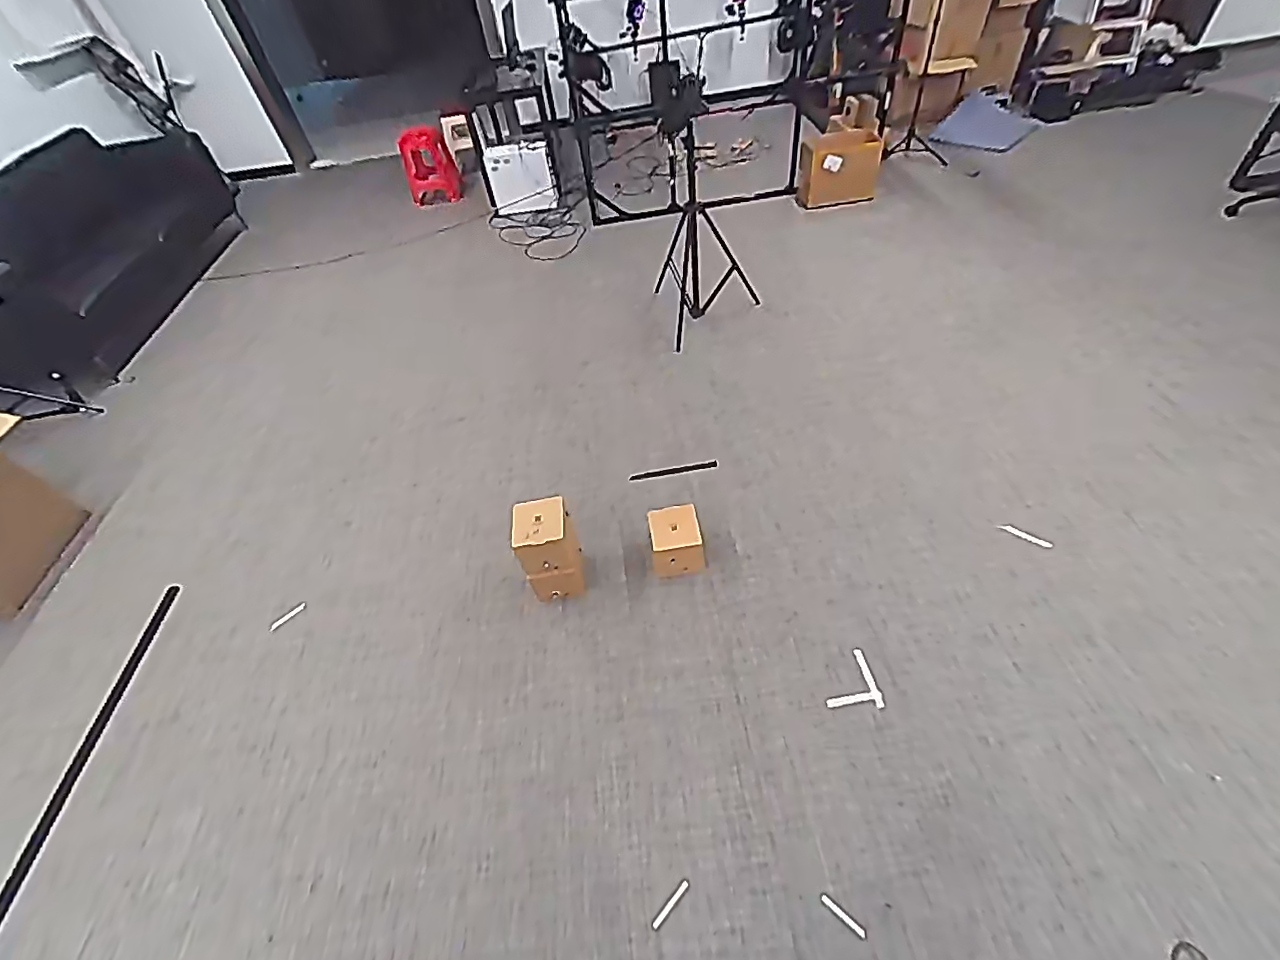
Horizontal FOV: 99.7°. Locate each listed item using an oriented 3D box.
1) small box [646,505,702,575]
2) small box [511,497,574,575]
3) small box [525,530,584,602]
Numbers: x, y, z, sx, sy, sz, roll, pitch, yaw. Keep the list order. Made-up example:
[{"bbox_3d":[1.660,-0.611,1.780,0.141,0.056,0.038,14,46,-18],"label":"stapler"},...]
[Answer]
[{"bbox_3d":[0.119,0.215,1.887,0.168,0.176,0.179,-10,47,0],"label":"small box"},{"bbox_3d":[-0.313,0.183,1.761,0.168,0.176,0.179,-10,48,2],"label":"small box"},{"bbox_3d":[-0.292,0.298,1.876,0.168,0.176,0.179,-10,47,2],"label":"small box"}]
